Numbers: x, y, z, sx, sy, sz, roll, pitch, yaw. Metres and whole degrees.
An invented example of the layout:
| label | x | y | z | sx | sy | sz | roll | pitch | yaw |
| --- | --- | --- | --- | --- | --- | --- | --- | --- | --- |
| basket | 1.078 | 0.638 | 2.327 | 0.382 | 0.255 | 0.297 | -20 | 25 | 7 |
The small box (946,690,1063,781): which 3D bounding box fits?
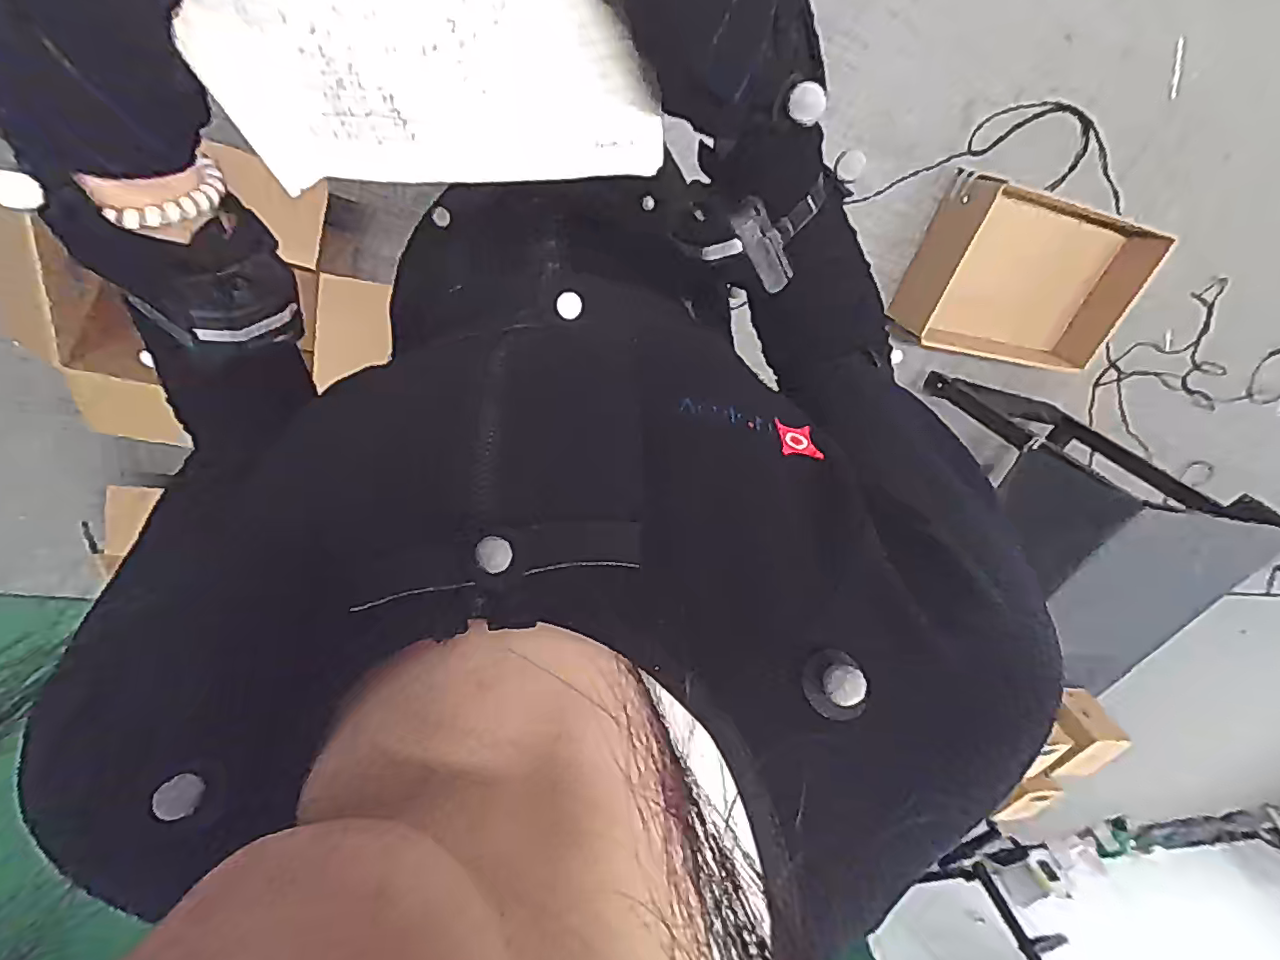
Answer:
| label | x | y | z | sx | sy | sz | roll | pitch | yaw |
| --- | --- | --- | --- | --- | --- | --- | --- | --- | --- |
| small box | 0.993 | 0.698 | 1.493 | 0.168 | 0.176 | 0.179 | 7 | 124 | -19 |
